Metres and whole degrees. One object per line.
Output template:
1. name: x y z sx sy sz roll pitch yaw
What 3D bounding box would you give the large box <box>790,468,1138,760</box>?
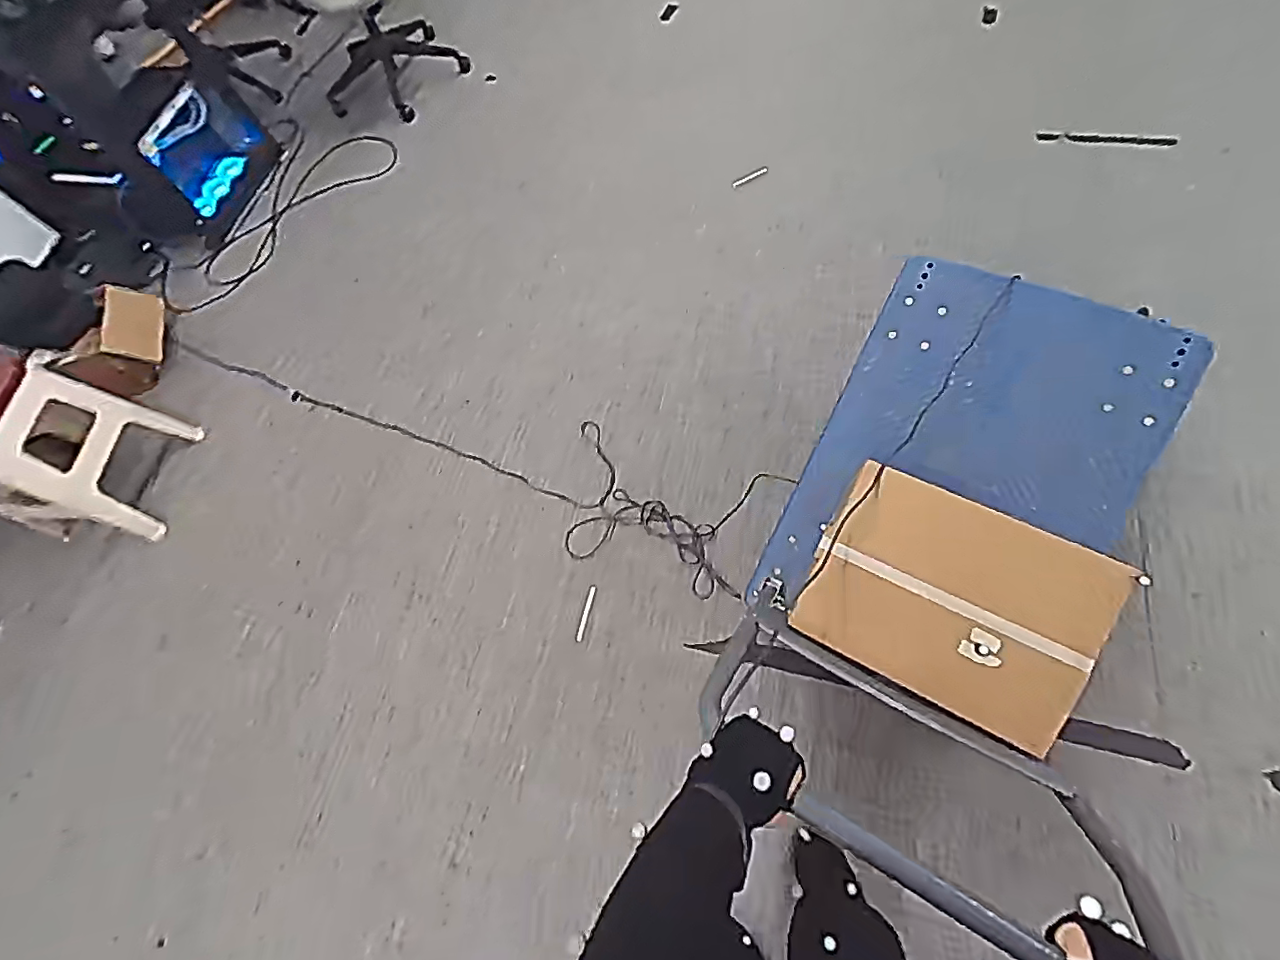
1. large box: 0.523 0.206 0.980 0.408 0.320 0.320 26 95 17
